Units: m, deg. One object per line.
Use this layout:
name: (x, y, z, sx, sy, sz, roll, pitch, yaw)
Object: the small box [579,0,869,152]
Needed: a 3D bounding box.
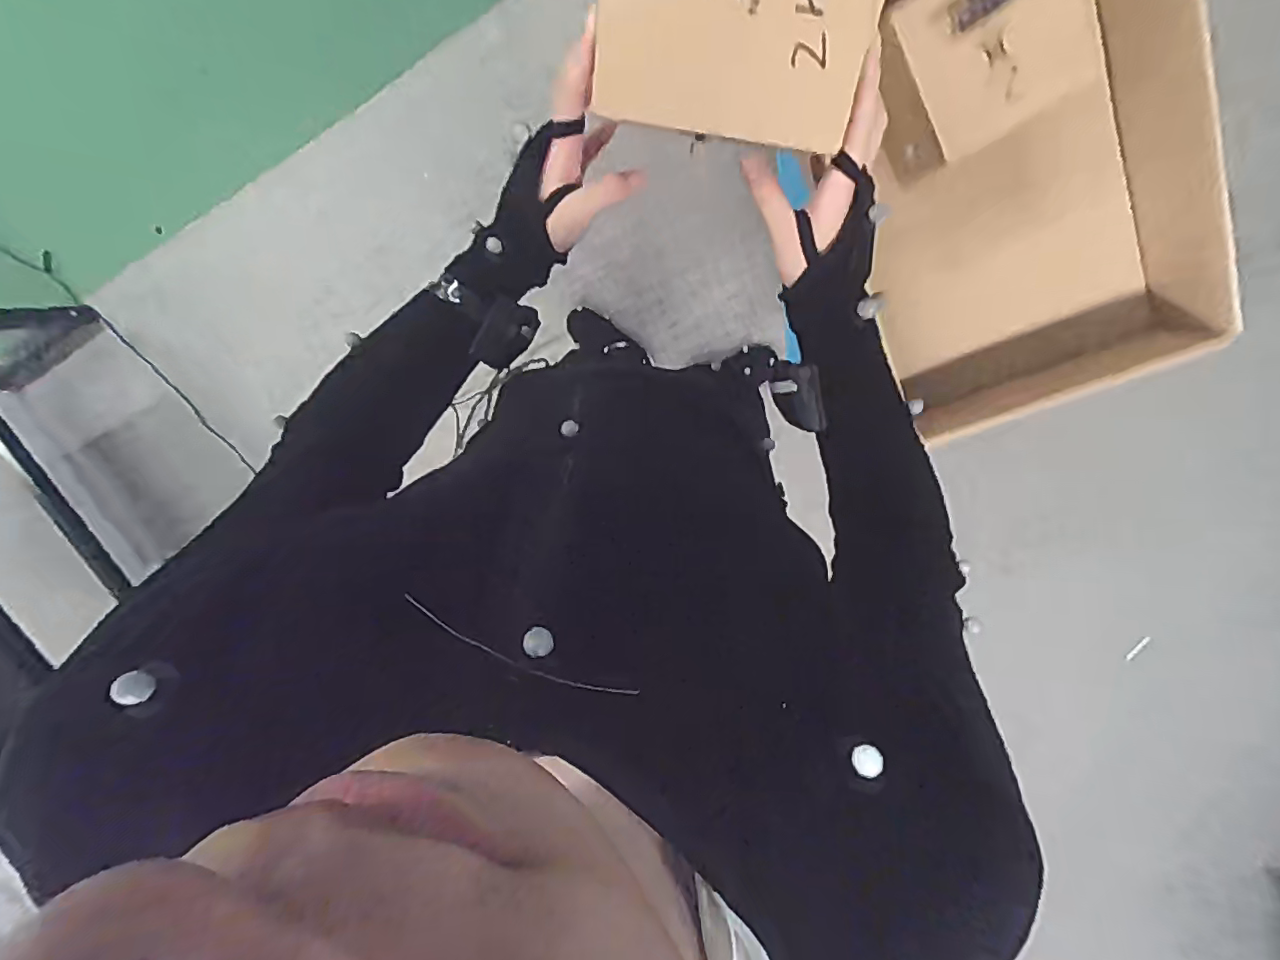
small box: (0.064, -0.347, 0.395, 0.179, 0.176, 0.168, 10, 123, 2)
